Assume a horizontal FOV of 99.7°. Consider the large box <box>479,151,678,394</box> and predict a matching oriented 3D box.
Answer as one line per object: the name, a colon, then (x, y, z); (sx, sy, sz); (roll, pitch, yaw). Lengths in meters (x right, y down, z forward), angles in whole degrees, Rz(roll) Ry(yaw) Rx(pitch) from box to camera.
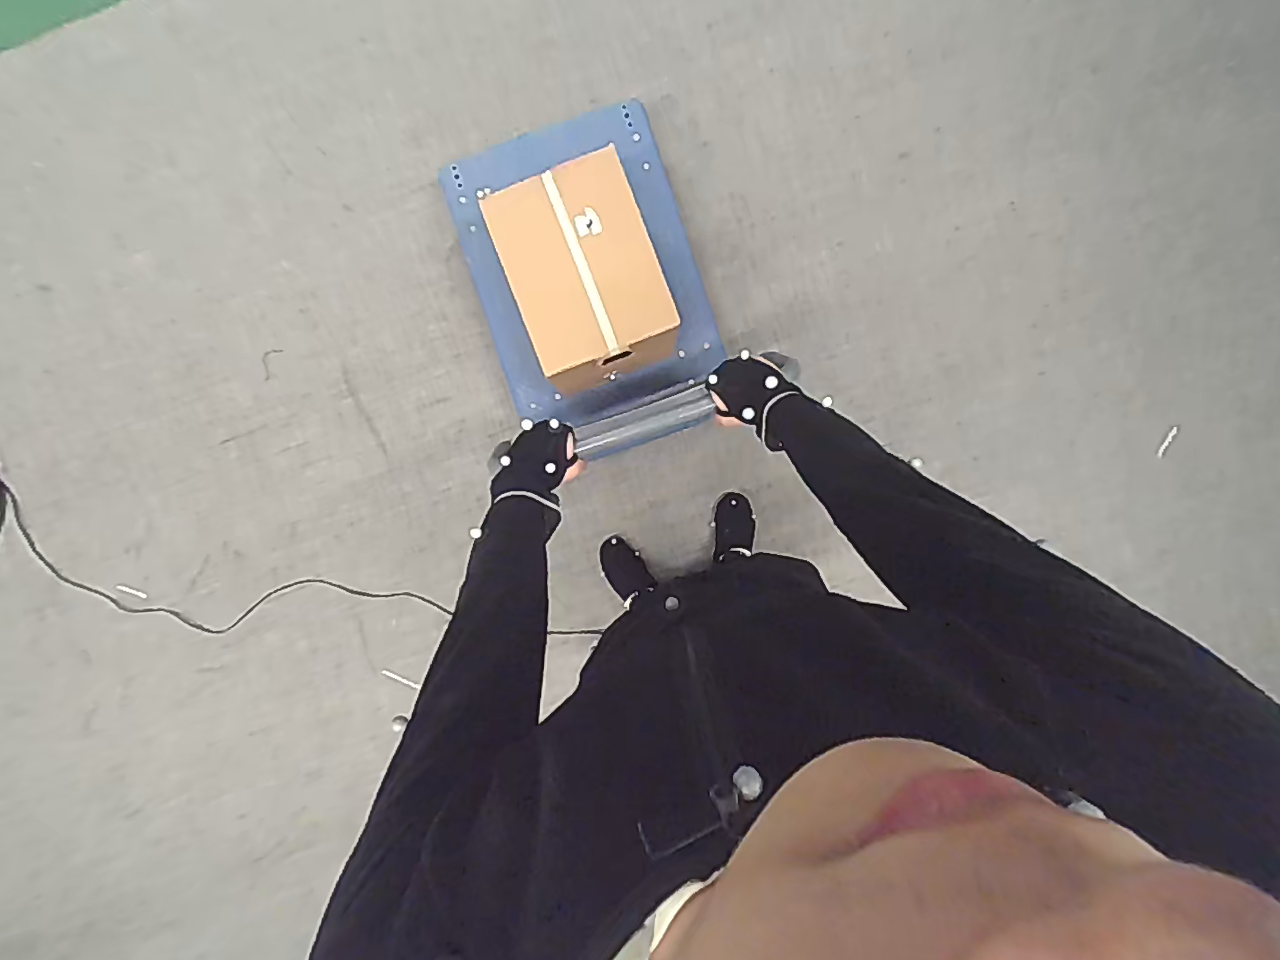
large box: (-0.125, -0.465, 1.302); (0.320, 0.320, 0.408); (-21, 91, 1)
